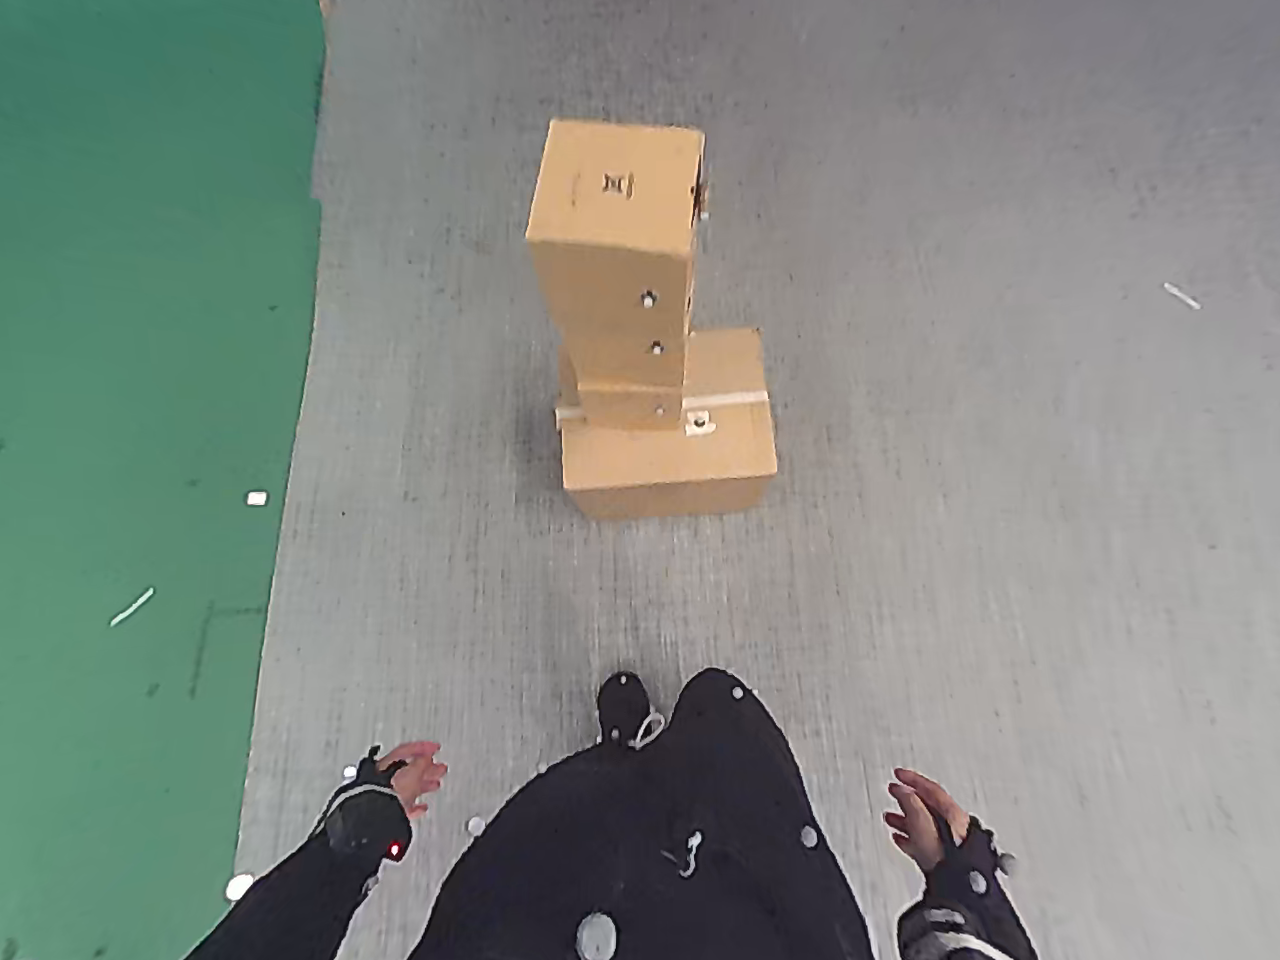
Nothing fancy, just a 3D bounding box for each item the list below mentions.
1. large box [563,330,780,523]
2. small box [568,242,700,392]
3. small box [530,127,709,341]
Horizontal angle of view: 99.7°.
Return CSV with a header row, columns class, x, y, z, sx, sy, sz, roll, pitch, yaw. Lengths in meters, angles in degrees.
class,x,y,z,sx,sy,sz,roll,pitch,yaw
large box,0.058,-0.098,1.192,0.408,0.320,0.320,-4,75,1
small box,-0.010,-0.247,0.816,0.179,0.176,0.168,6,73,2
small box,-0.016,-0.286,0.657,0.179,0.176,0.168,6,73,5
